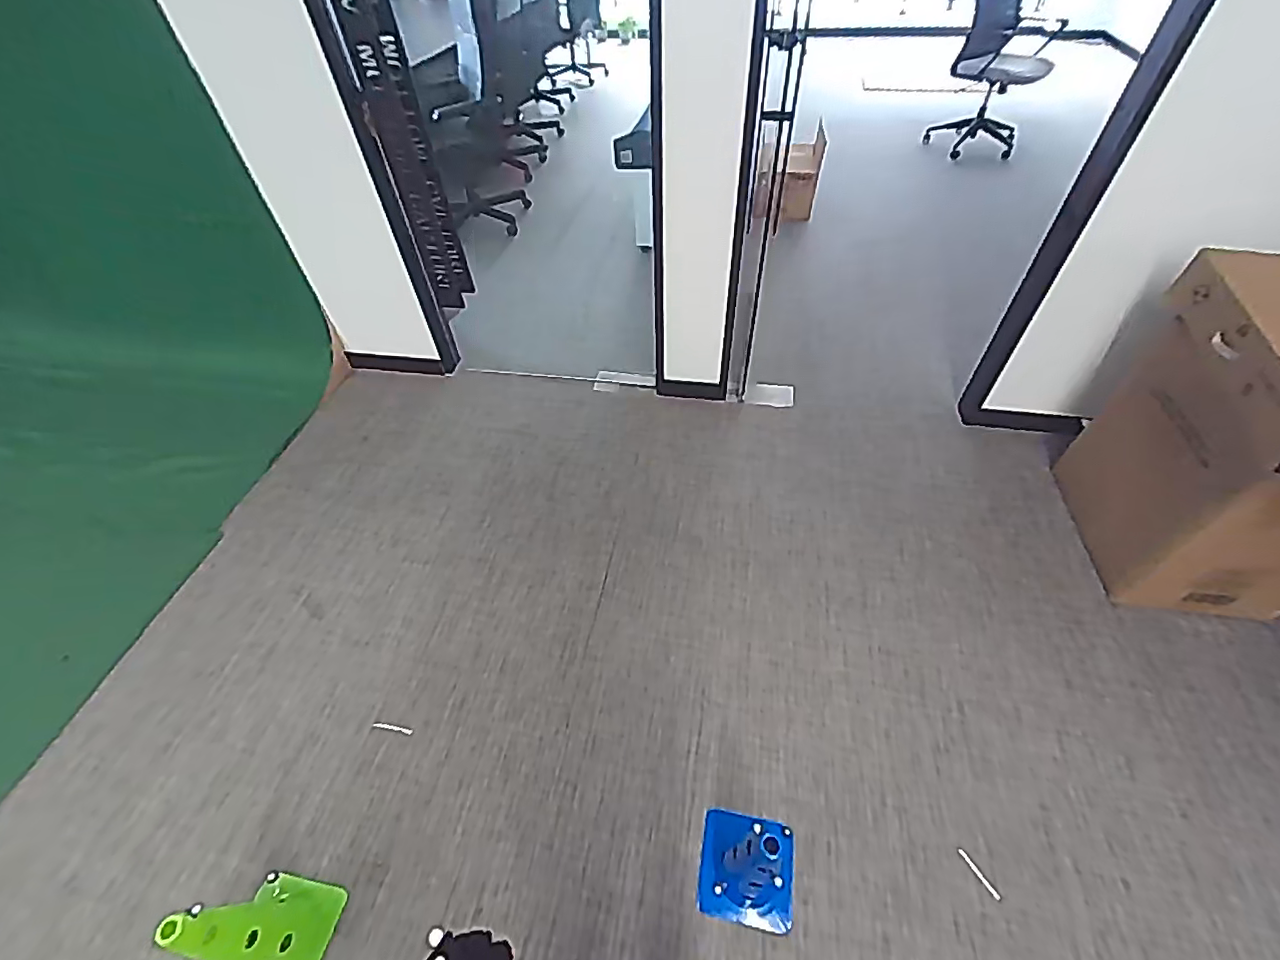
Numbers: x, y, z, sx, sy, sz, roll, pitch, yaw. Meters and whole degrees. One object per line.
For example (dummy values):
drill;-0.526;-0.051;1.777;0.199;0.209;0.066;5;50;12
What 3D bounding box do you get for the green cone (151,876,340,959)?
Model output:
green cone;-0.759;0.846;0.993;0.202;0.368;0.200;7;49;7
